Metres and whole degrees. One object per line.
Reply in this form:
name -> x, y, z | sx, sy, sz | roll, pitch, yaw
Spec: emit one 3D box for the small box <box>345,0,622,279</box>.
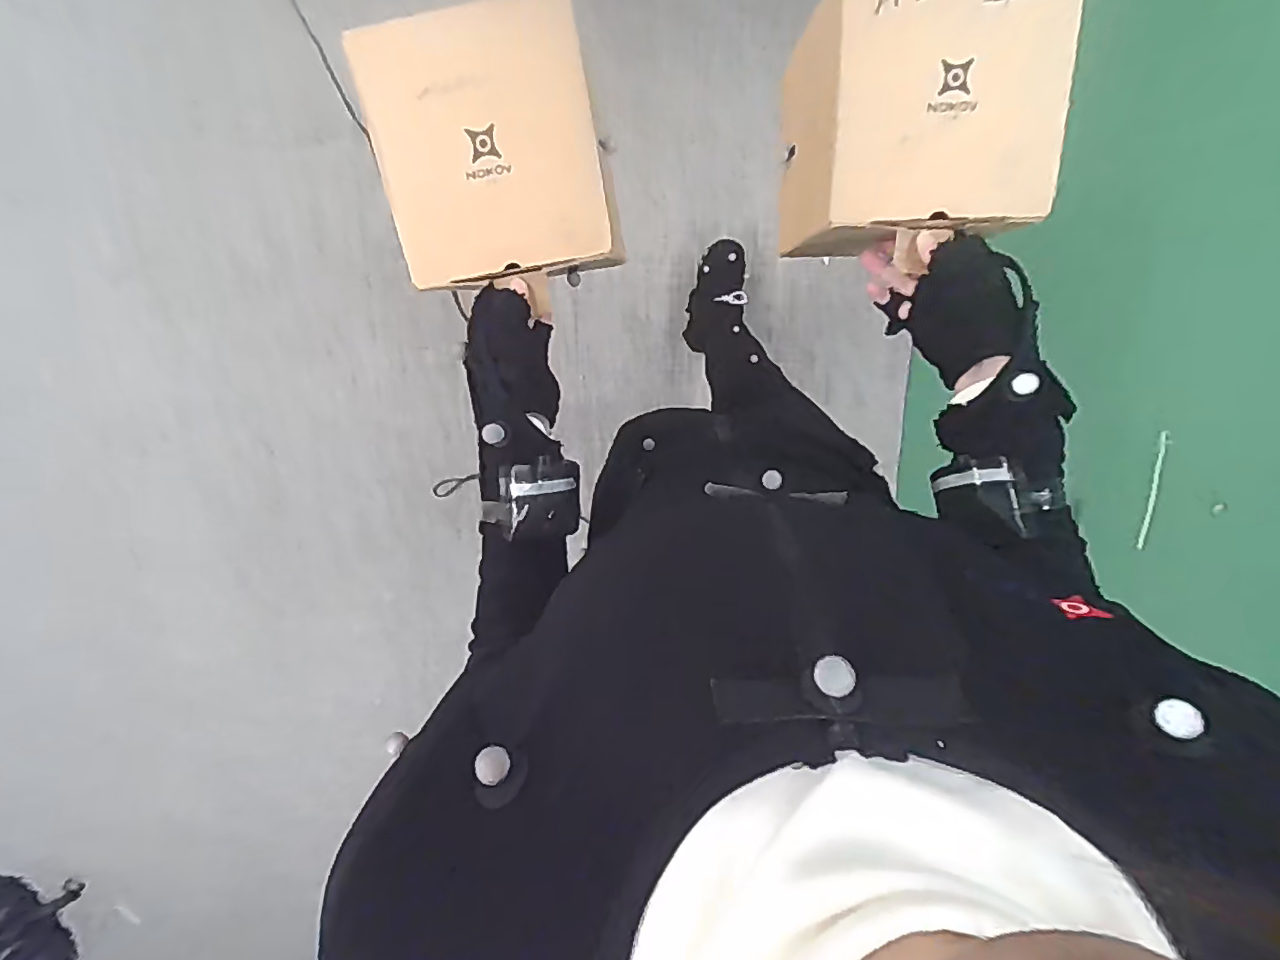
small box -> -0.114, -0.285, 0.481 | 0.168, 0.176, 0.179 | -9, 109, 5
